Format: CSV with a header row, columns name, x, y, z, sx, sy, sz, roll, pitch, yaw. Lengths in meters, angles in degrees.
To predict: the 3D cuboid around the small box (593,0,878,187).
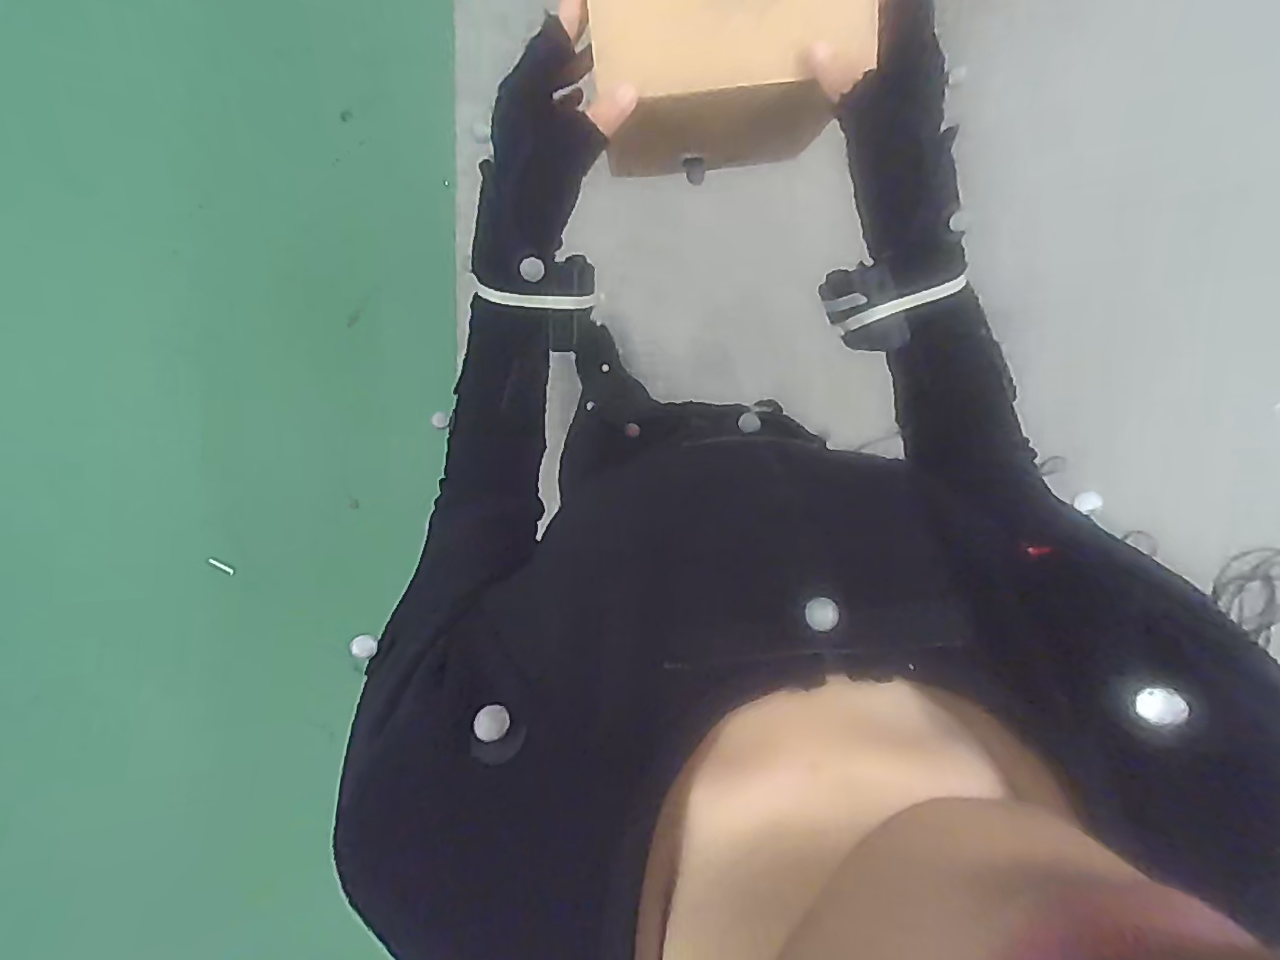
name,x,y,z,sx,sy,sz,roll,pitch,yaw
small box,0.050,-0.330,0.378,0.168,0.176,0.179,-5,104,2
